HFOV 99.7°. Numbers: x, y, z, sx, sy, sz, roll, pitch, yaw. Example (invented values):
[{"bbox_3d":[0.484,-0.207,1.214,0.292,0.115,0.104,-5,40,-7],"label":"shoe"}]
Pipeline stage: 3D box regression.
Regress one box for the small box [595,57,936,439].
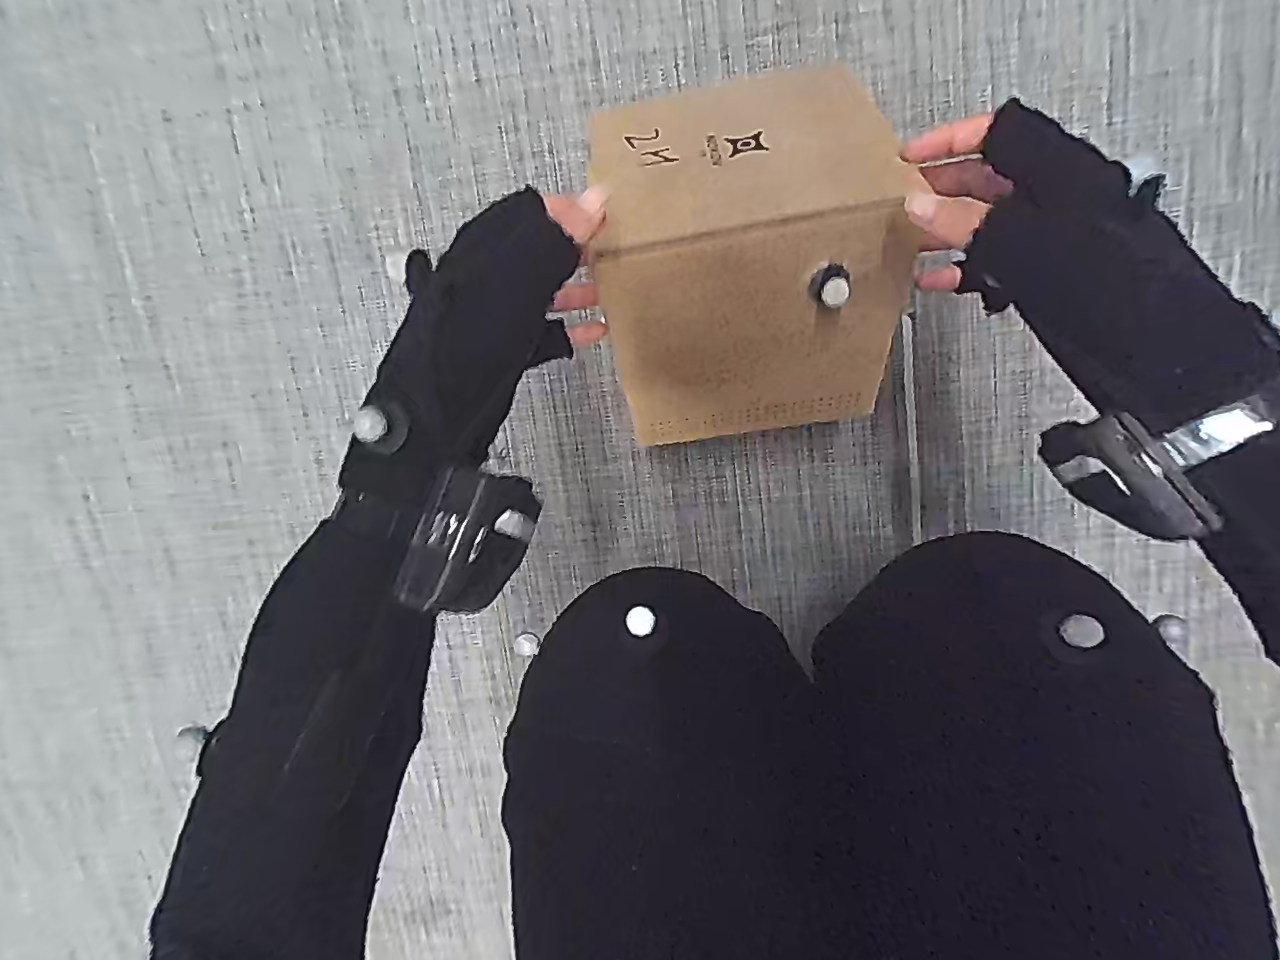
[{"bbox_3d":[0.072,-0.148,0.384,0.179,0.176,0.168,-8,59,8],"label":"small box"}]
